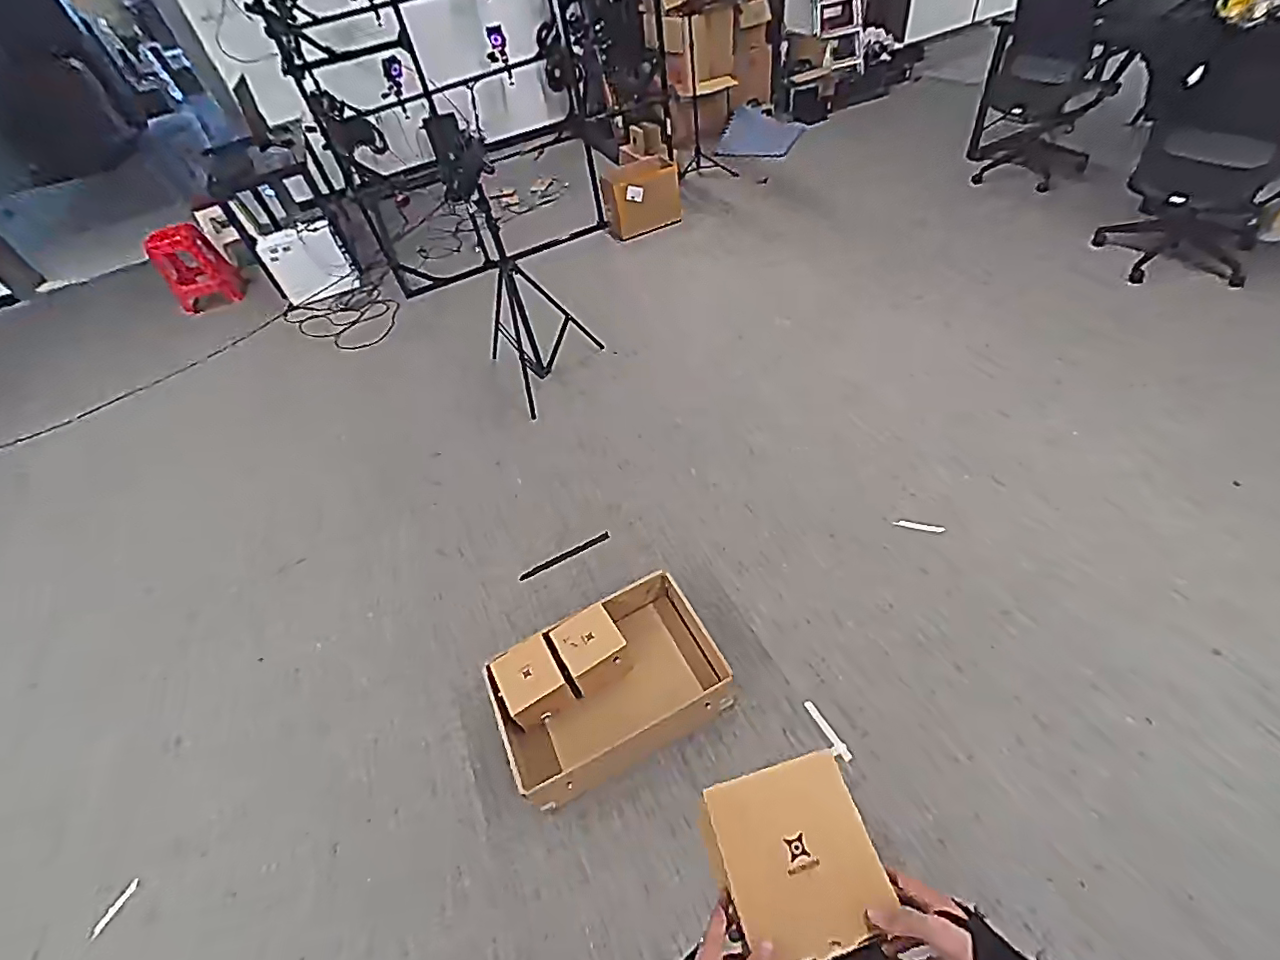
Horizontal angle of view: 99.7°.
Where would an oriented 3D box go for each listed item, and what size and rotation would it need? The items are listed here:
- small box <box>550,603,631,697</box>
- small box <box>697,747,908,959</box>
[{"bbox_3d":[-0.138,0.503,1.594,0.179,0.176,0.168,-29,51,-15],"label":"small box"},{"bbox_3d":[0.172,0.451,0.645,0.168,0.176,0.179,-14,53,-9],"label":"small box"}]
